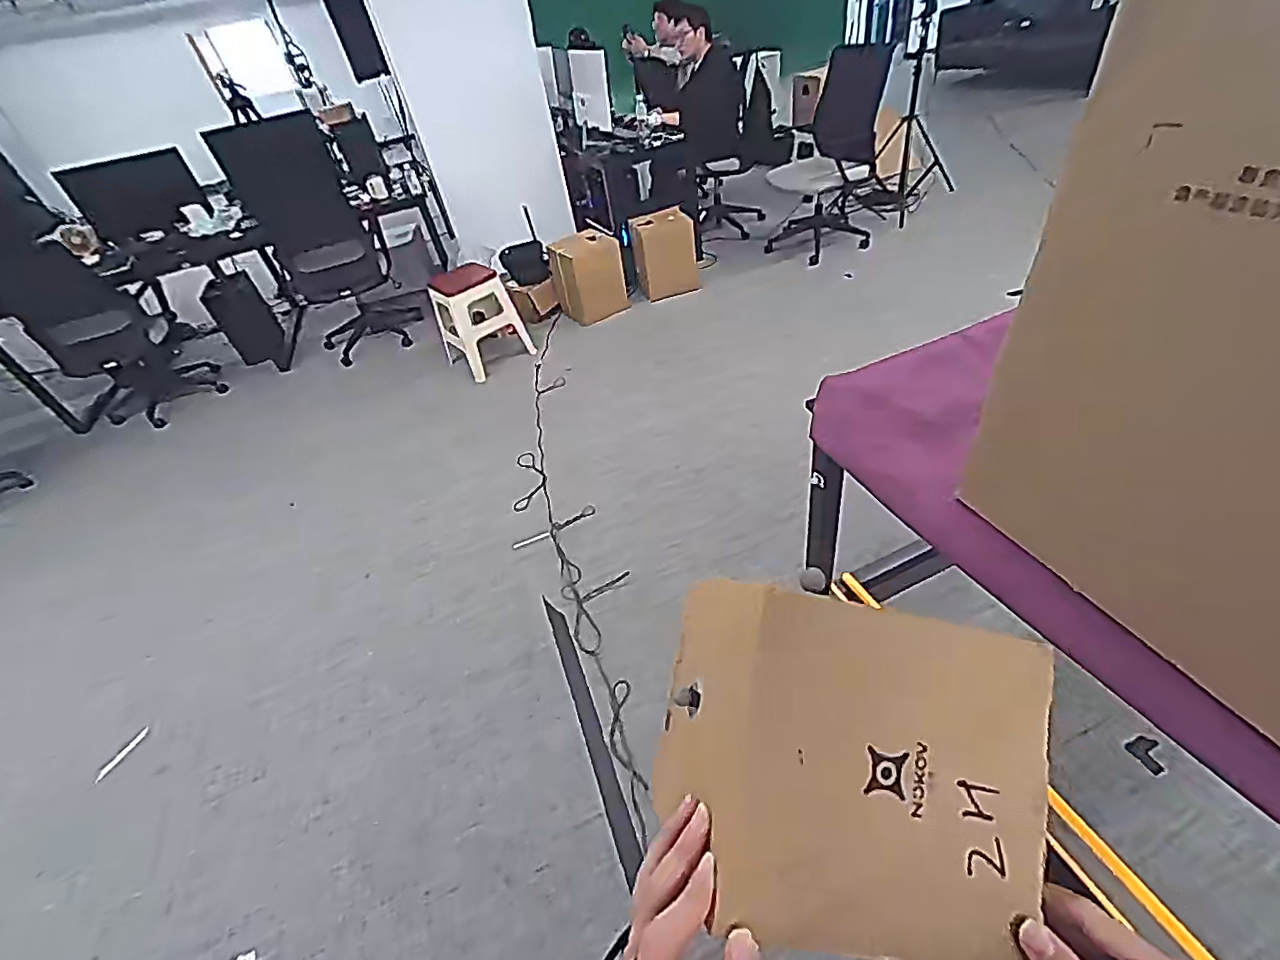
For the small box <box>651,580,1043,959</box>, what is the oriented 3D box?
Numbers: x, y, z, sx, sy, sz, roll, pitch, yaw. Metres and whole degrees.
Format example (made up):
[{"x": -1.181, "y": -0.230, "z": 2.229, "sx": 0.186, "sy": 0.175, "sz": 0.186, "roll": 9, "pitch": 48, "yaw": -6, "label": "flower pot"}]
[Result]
[{"x": 0.114, "y": 0.165, "z": 0.356, "sx": 0.179, "sy": 0.176, "sz": 0.168, "roll": 14, "pitch": 79, "yaw": -7, "label": "small box"}]
